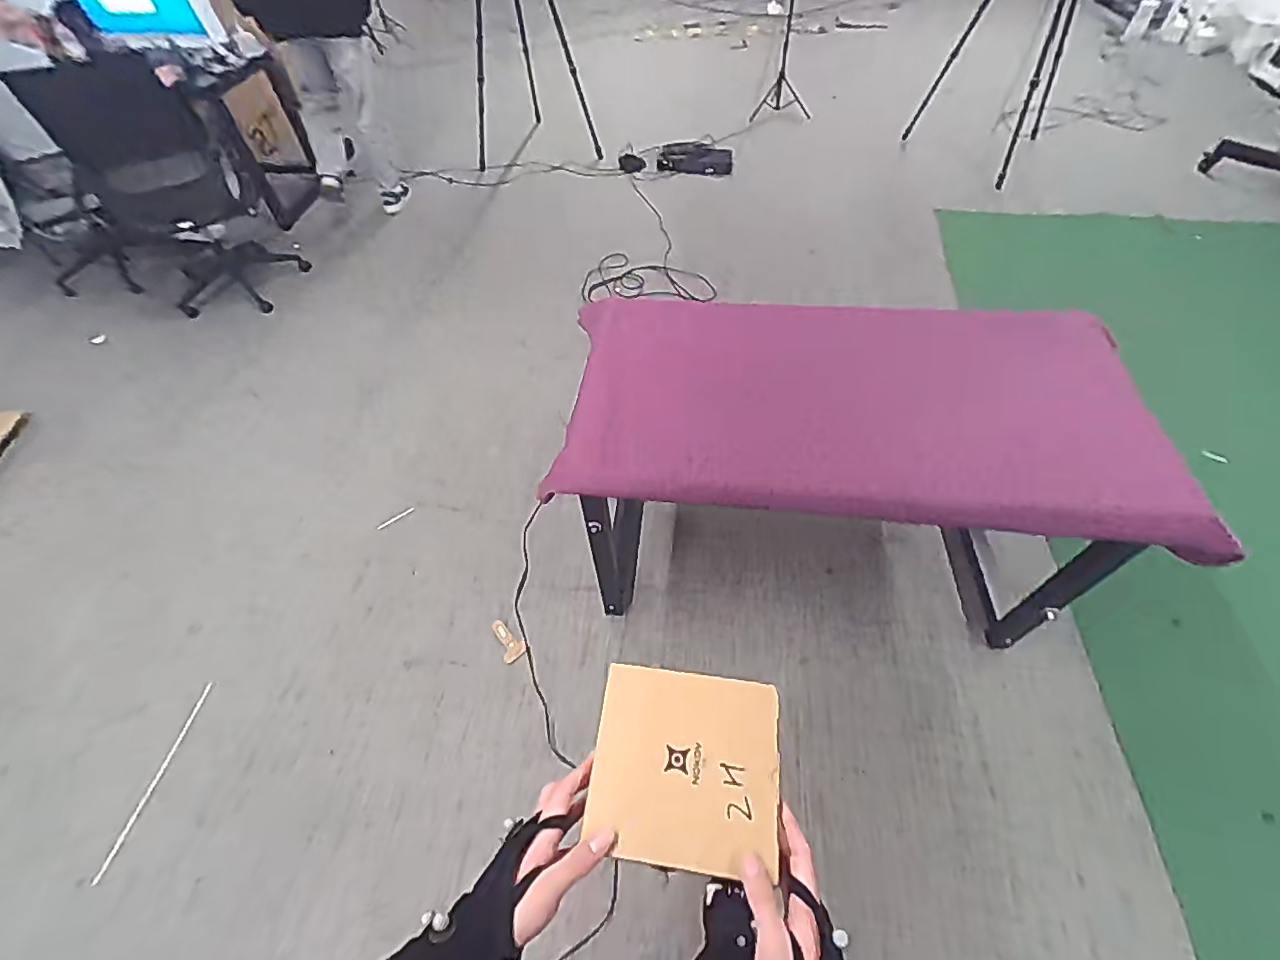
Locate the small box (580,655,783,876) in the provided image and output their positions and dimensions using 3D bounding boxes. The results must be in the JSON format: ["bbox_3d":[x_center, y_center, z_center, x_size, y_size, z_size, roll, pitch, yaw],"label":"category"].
[{"bbox_3d":[0.047,0.302,0.571,0.179,0.176,0.168,7,56,6],"label":"small box"}]
